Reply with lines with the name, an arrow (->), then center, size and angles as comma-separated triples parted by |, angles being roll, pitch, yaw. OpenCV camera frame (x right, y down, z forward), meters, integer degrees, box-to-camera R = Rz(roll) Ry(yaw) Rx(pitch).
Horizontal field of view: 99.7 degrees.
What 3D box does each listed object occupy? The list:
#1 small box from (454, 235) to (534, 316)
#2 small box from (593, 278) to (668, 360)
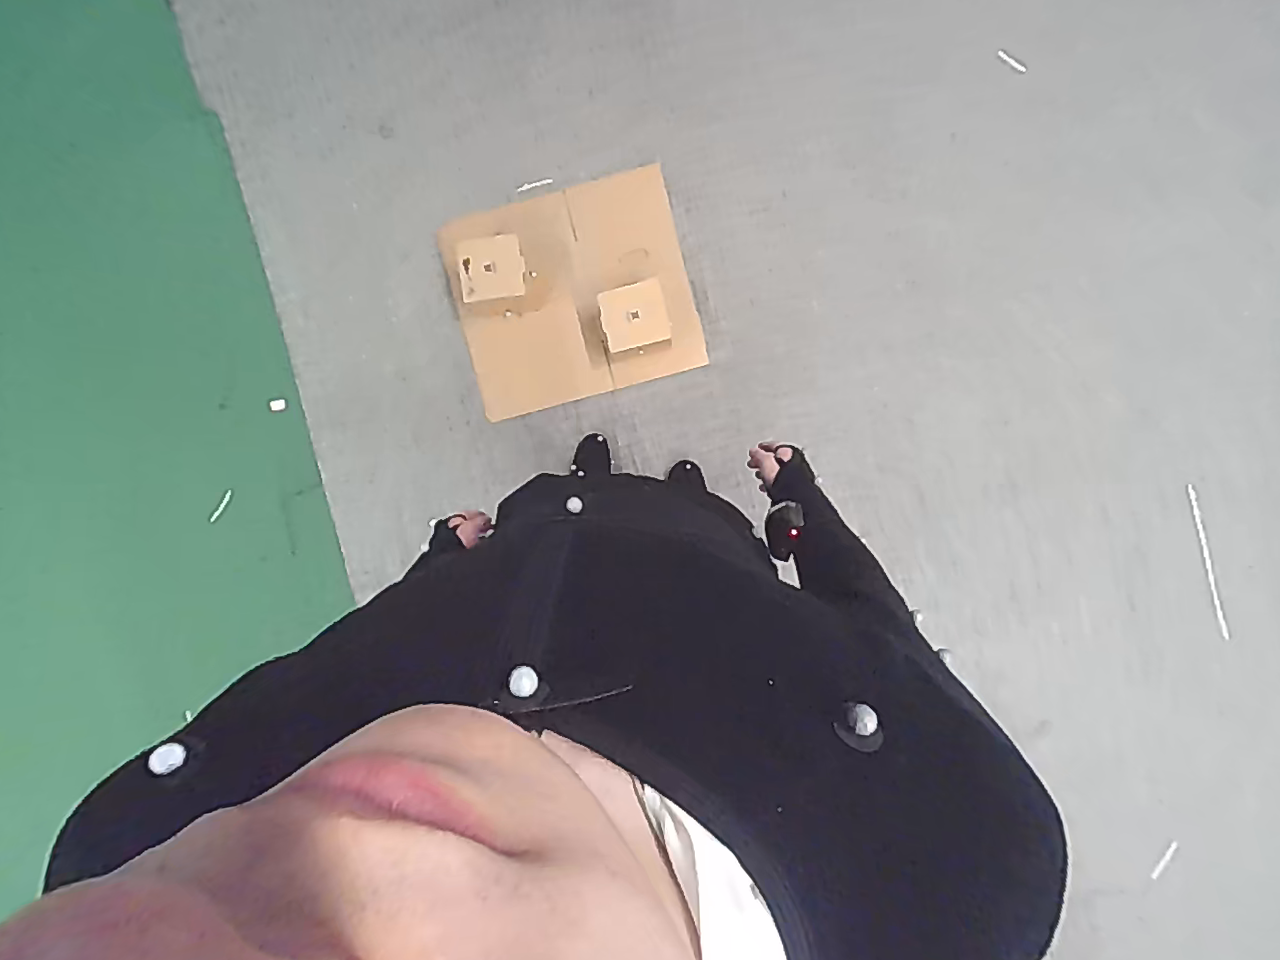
small box -> -0.405, -0.573, 1.529 | 0.179, 0.176, 0.168 | -6, 93, 2
small box -> -0.020, -0.446, 1.526 | 0.179, 0.176, 0.168 | -13, 93, 3
